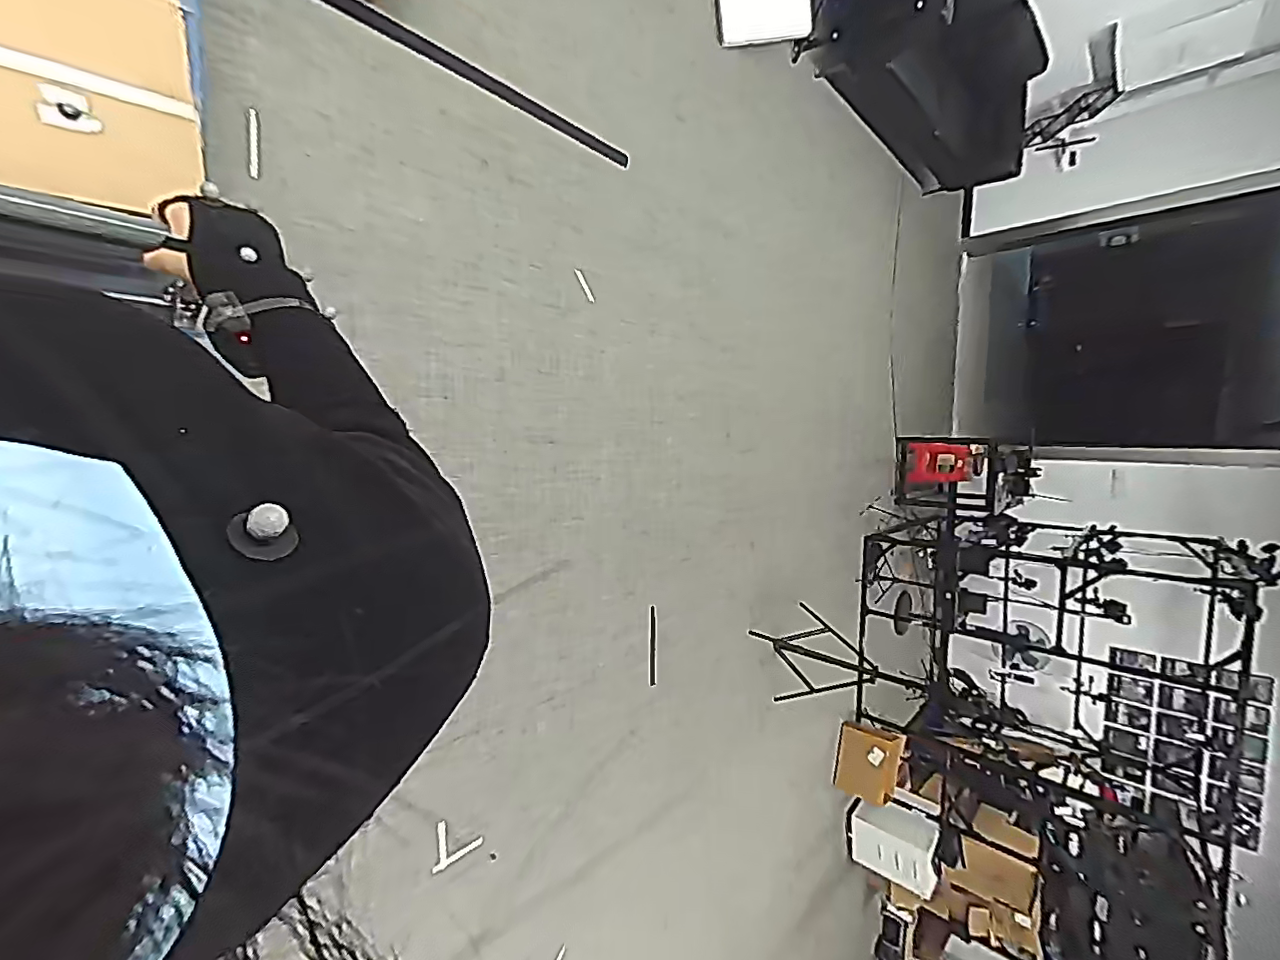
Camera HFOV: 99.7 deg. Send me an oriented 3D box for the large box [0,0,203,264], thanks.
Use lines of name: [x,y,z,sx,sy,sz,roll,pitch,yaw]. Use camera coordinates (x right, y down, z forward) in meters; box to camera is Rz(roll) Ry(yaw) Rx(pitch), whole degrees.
large box: [-0.915,-0.523,0.754,0.408,0.320,0.320,-10,101,-49]
